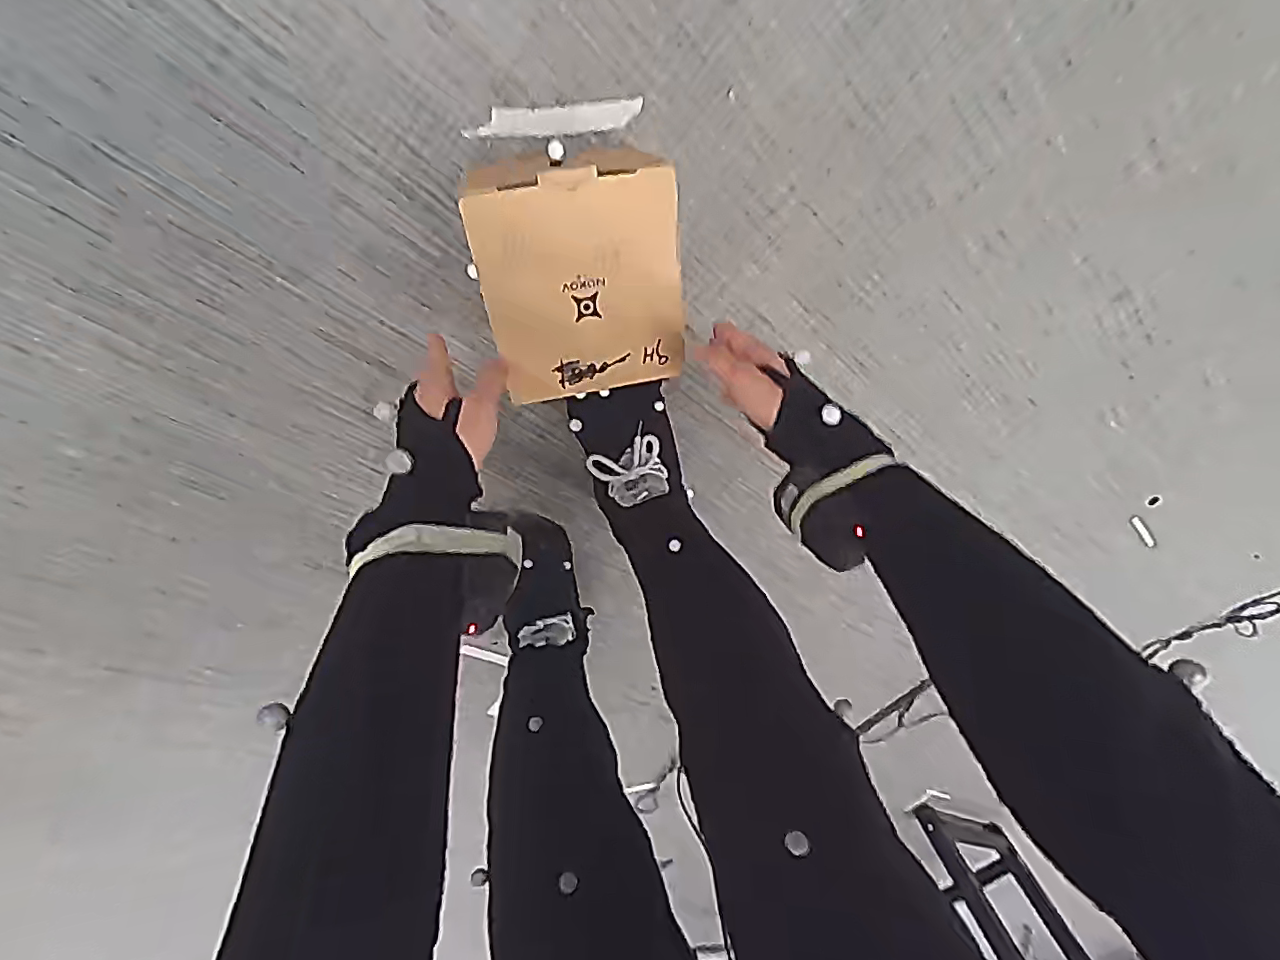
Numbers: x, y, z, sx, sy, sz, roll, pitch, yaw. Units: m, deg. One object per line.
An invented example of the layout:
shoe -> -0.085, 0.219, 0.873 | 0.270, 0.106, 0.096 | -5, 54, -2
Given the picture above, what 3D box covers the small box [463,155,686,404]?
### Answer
small box -> -0.061, -0.197, 0.509 | 0.168, 0.176, 0.179 | -12, 127, -7
